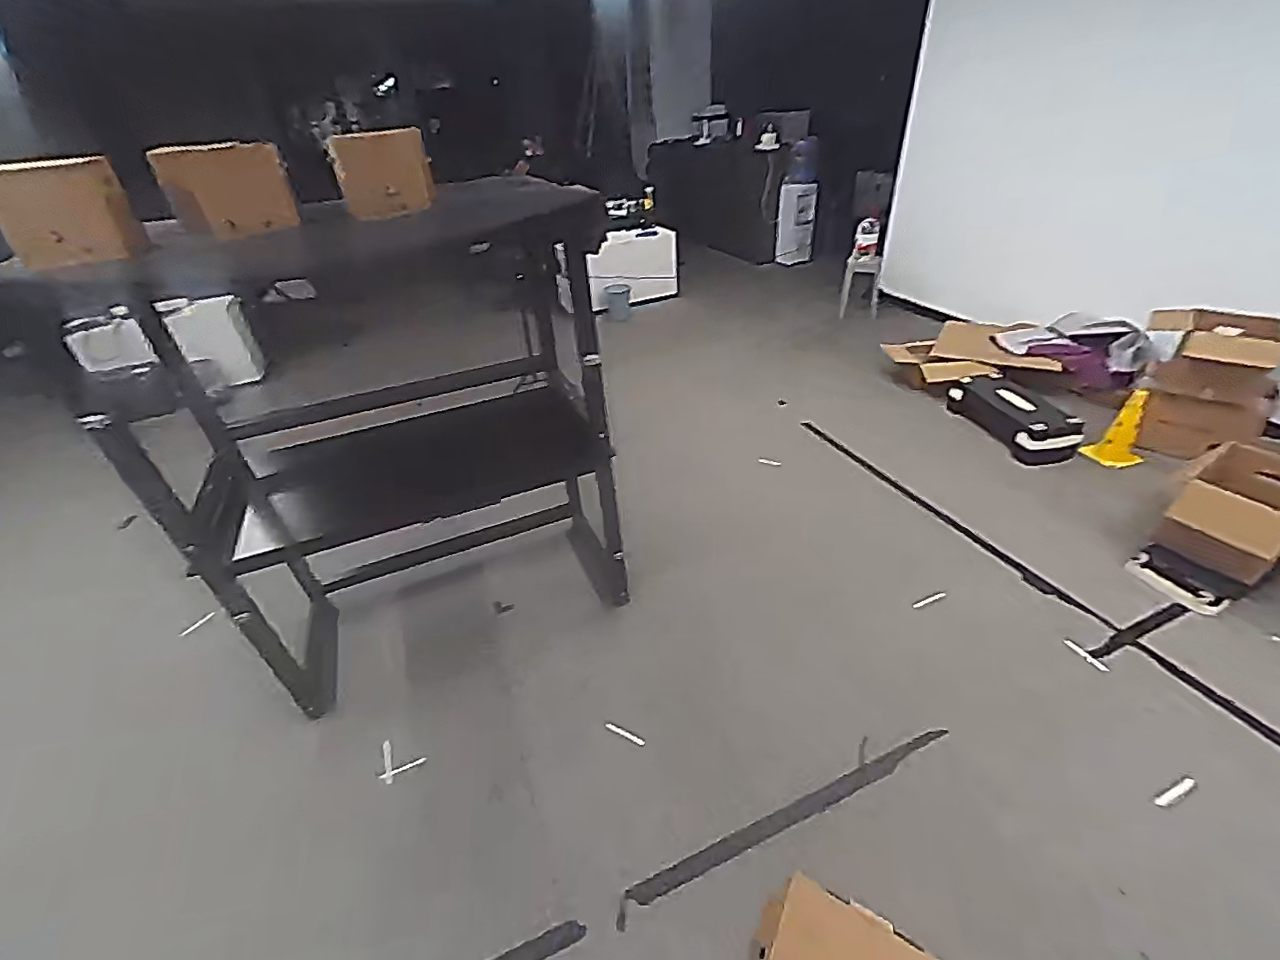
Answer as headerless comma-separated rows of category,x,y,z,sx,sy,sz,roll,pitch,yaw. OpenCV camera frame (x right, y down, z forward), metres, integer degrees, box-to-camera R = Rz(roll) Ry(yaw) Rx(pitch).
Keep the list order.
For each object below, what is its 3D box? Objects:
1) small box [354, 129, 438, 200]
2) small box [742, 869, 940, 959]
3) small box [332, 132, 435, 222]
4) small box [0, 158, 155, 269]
small box,-0.656,-0.846,1.467,0.179,0.176,0.168,-15,36,-15
small box,0.188,0.552,0.553,0.168,0.176,0.179,22,49,19
small box,-0.610,-0.724,1.290,0.168,0.176,0.179,-22,39,-23
small box,-1.110,-0.527,1.067,0.168,0.176,0.179,-19,39,-20
